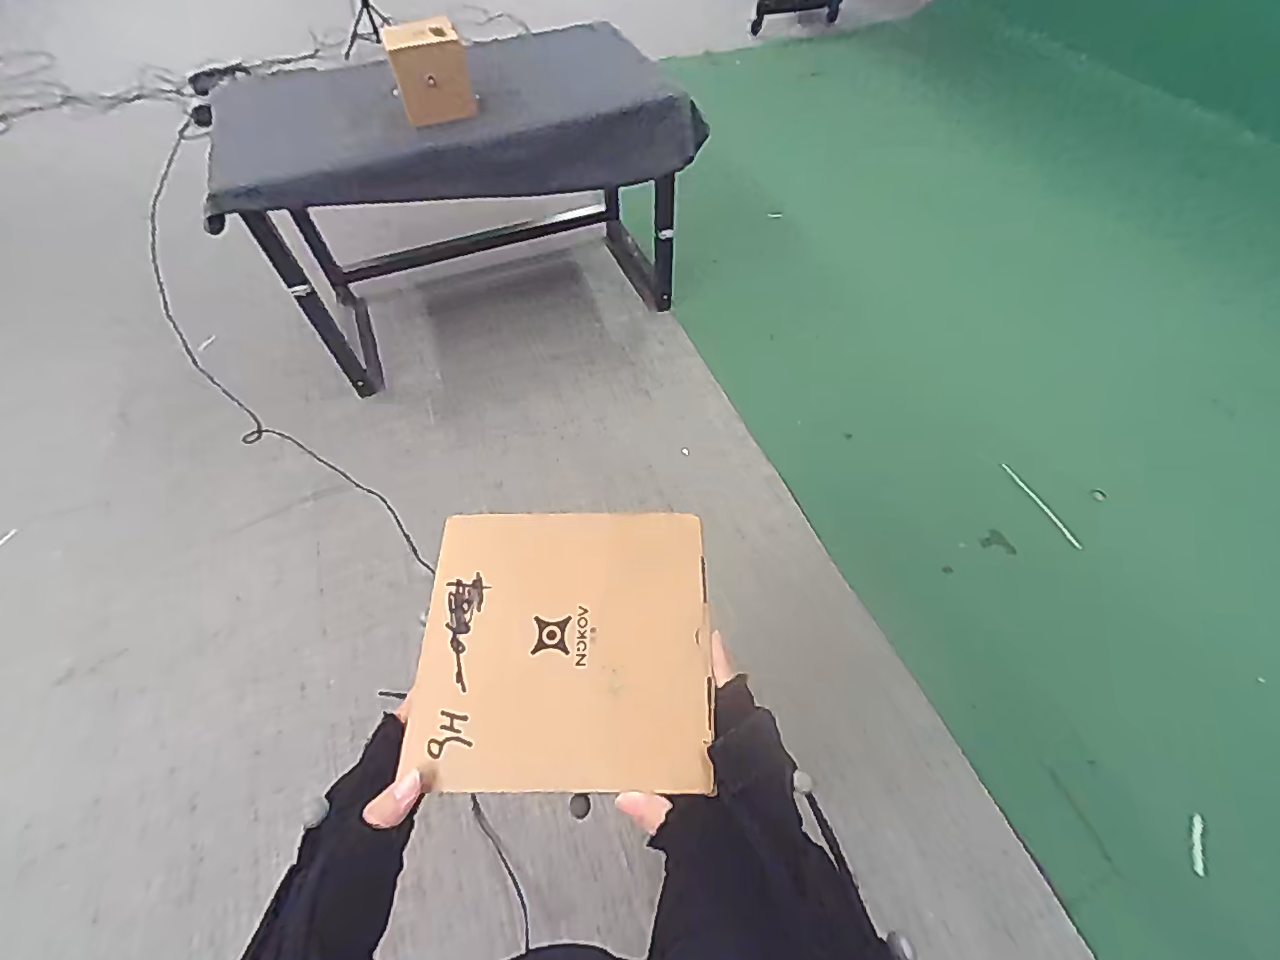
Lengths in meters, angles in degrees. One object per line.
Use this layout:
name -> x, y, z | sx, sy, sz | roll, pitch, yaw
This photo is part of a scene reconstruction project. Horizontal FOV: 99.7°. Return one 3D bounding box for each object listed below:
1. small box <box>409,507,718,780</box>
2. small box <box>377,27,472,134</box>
small box -> -0.044, 0.131, 0.409 | 0.179, 0.176, 0.168 | 0, 60, 0
small box -> -0.547, -1.029, 1.397 | 0.179, 0.176, 0.168 | -21, 58, -14
